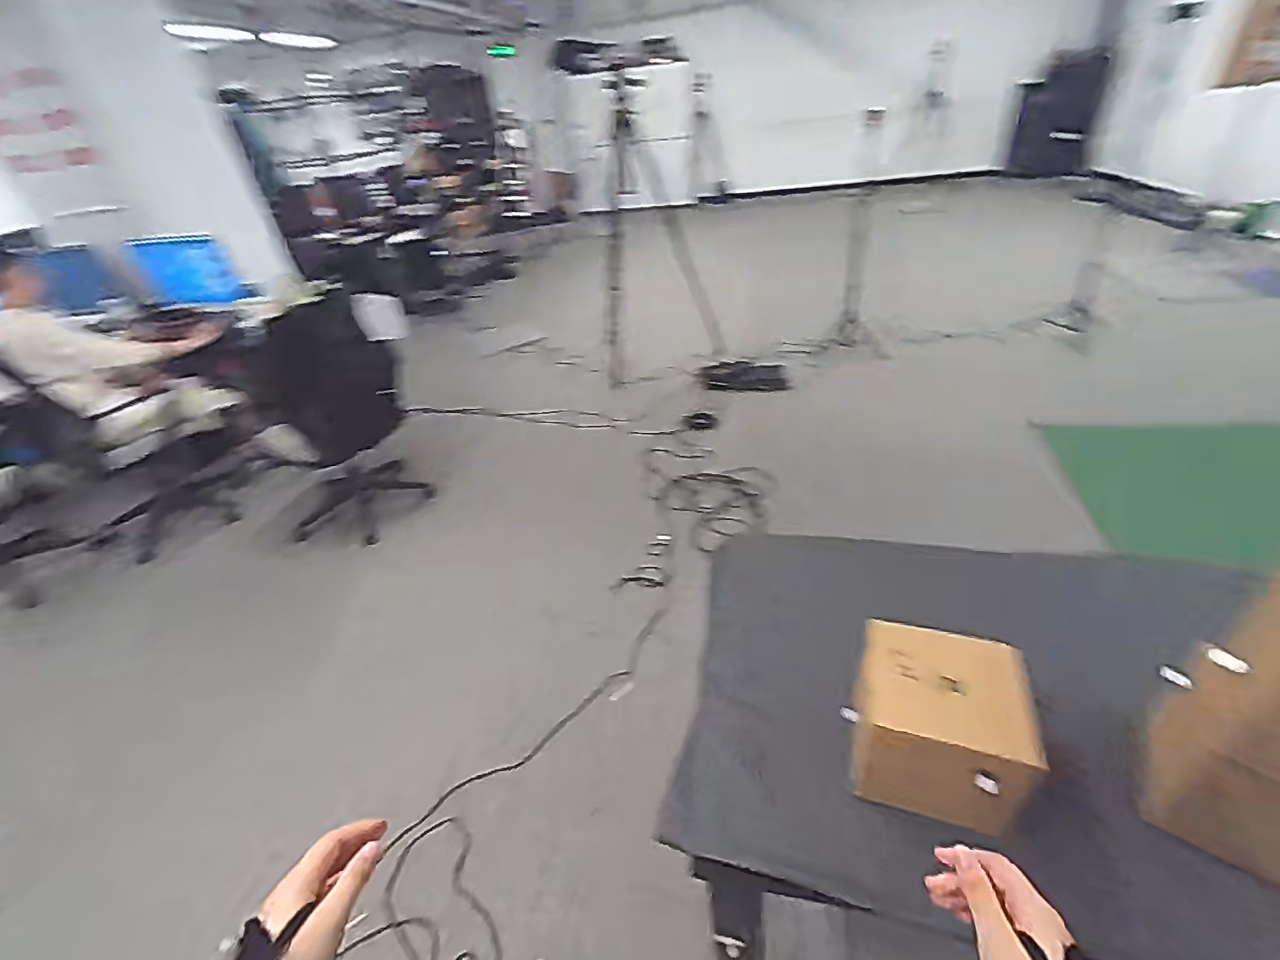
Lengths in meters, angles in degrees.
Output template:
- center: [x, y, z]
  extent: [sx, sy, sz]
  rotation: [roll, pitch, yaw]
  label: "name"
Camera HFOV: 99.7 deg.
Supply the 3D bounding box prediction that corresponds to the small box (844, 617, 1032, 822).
- center: [0.374, 0.313, 0.710]
  extent: [0.179, 0.176, 0.168]
  rotation: [6, 36, 20]
  label: "small box"
